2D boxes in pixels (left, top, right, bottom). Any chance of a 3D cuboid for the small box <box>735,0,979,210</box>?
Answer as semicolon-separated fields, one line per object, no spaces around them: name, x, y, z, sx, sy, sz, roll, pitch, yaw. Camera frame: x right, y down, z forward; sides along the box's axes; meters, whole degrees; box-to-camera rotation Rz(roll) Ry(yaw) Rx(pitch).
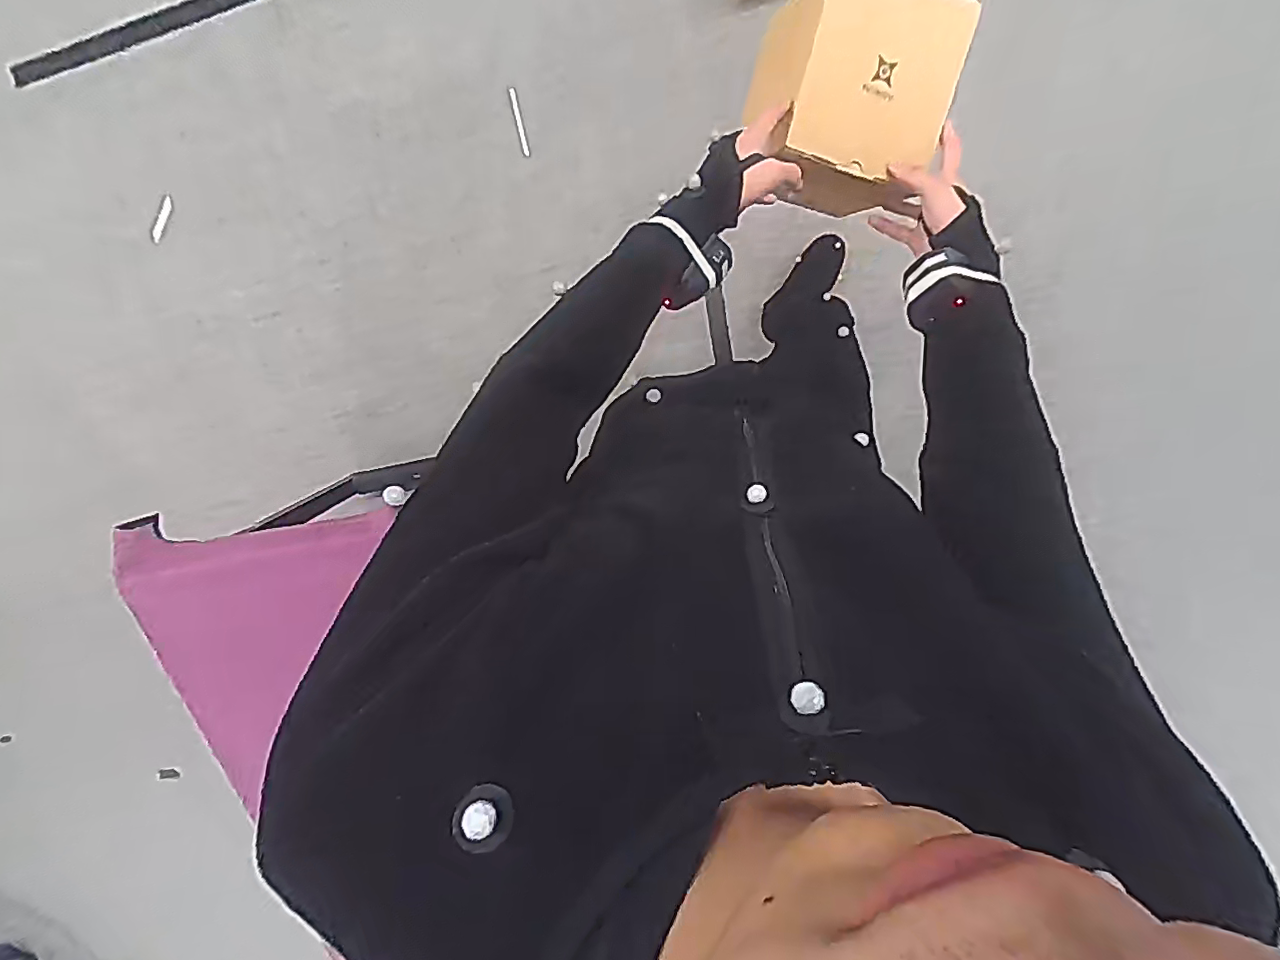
small box;0.224;-0.426;0.608;0.168;0.176;0.179;9;107;-14
